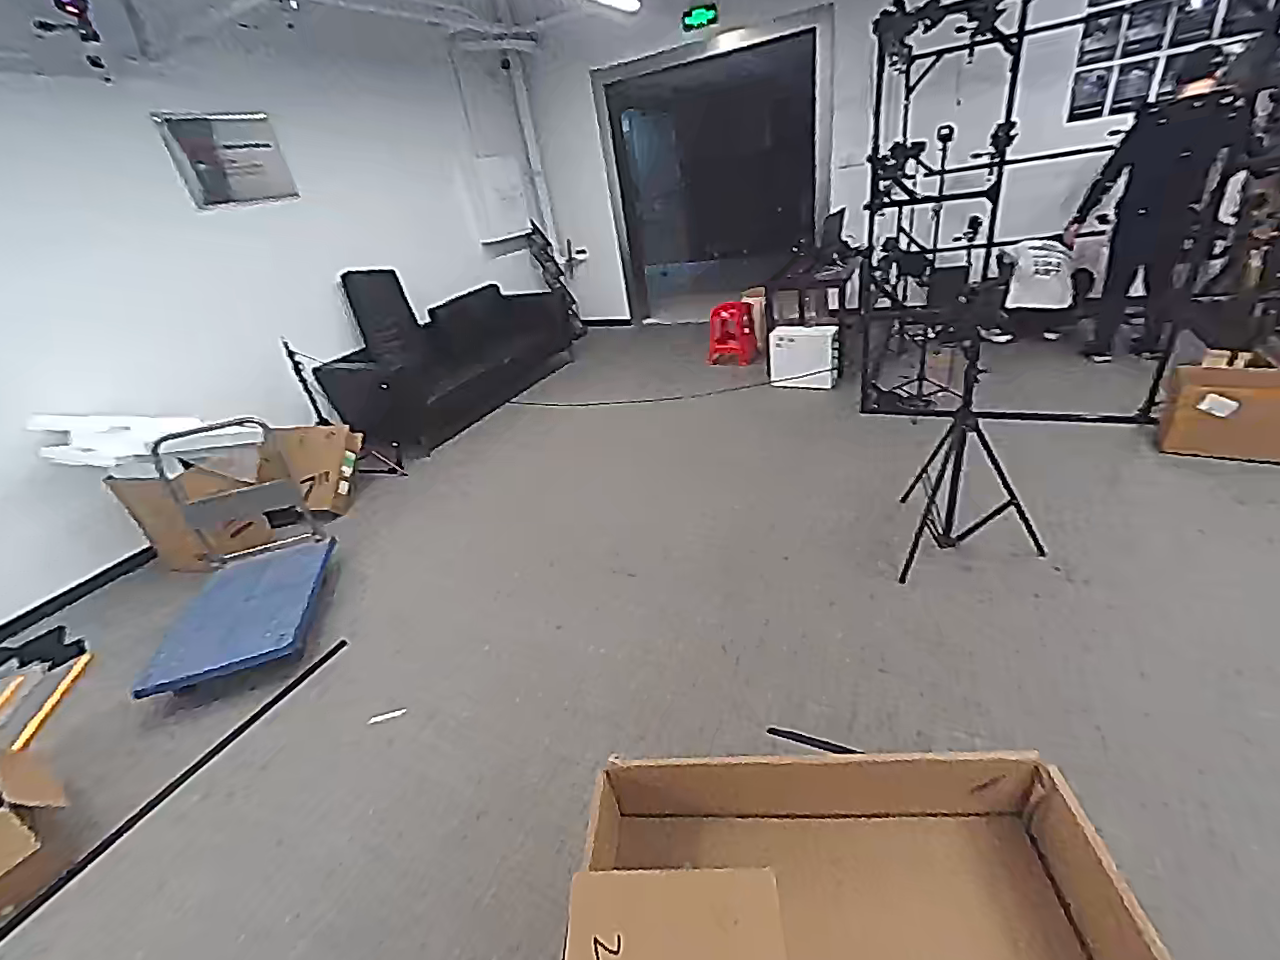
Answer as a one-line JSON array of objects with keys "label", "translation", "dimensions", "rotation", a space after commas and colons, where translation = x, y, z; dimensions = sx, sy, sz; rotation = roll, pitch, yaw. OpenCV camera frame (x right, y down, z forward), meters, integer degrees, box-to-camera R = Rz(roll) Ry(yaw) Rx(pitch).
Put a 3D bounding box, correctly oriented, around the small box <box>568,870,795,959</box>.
[{"label": "small box", "translation": [0.041, 0.443, 0.444], "dimensions": [0.179, 0.176, 0.168], "rotation": [-7, 38, 7]}]
